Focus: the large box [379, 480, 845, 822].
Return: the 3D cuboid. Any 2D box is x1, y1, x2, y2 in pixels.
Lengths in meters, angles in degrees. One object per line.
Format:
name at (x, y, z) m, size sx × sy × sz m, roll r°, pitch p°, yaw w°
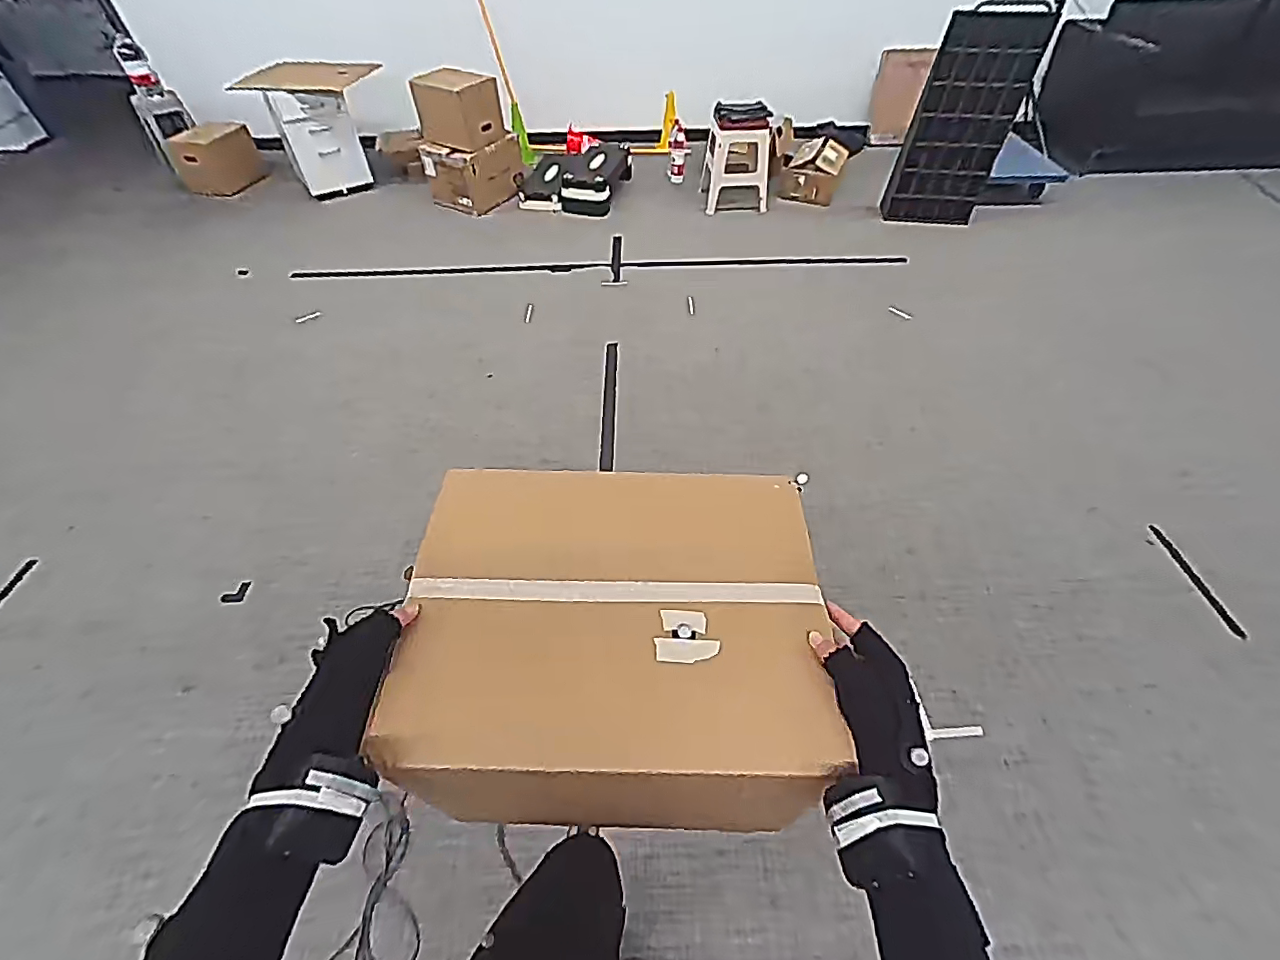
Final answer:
large box at (-0.026, 0.216, 0.662) m, size 0.408 × 0.320 × 0.320 m, roll 2°, pitch 51°, yaw 0°
